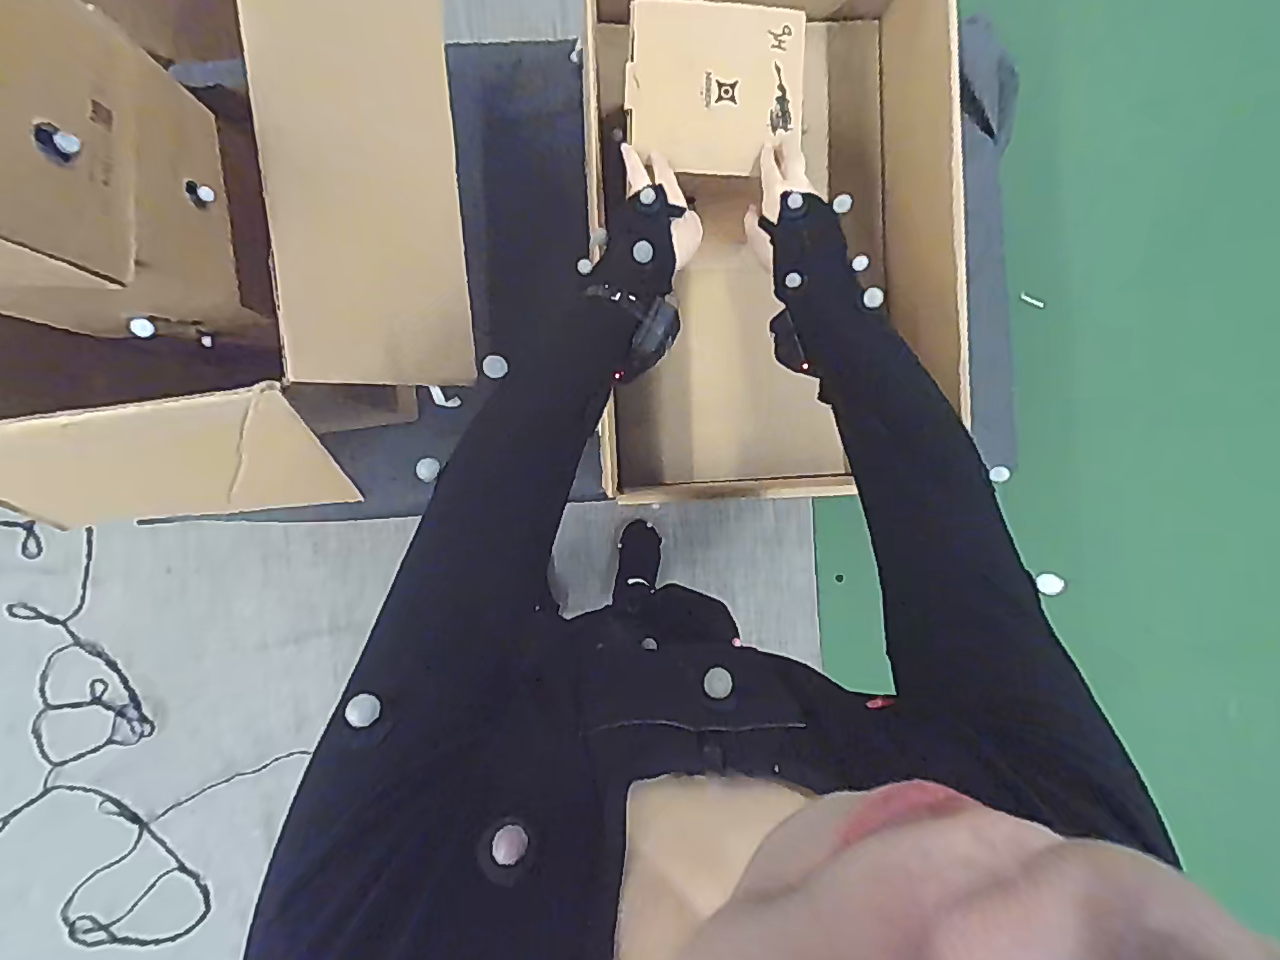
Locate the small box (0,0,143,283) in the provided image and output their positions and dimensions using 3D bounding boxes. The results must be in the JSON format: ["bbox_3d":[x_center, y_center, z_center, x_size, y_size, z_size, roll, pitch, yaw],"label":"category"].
[{"bbox_3d":[-0.429,-0.216,0.290,0.179,0.176,0.168,1,92,-5],"label":"small box"}]
